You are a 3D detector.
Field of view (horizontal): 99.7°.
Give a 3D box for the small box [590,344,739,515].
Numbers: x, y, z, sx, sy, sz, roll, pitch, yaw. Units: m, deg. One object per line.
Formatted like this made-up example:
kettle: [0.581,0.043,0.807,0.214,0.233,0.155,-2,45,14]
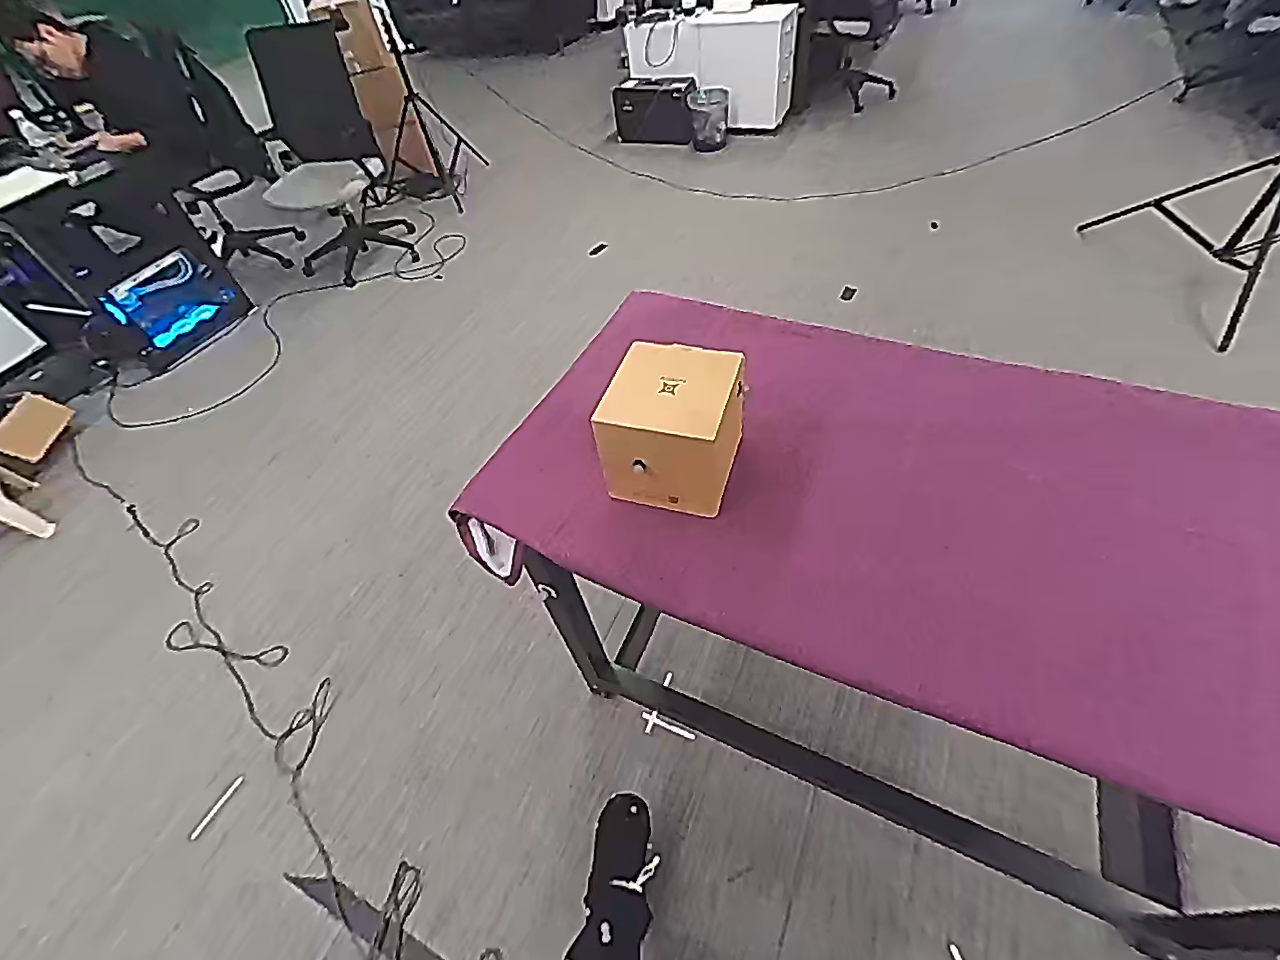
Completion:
small box: [0.047,-0.071,0.787,0.168,0.176,0.179,10,52,16]
